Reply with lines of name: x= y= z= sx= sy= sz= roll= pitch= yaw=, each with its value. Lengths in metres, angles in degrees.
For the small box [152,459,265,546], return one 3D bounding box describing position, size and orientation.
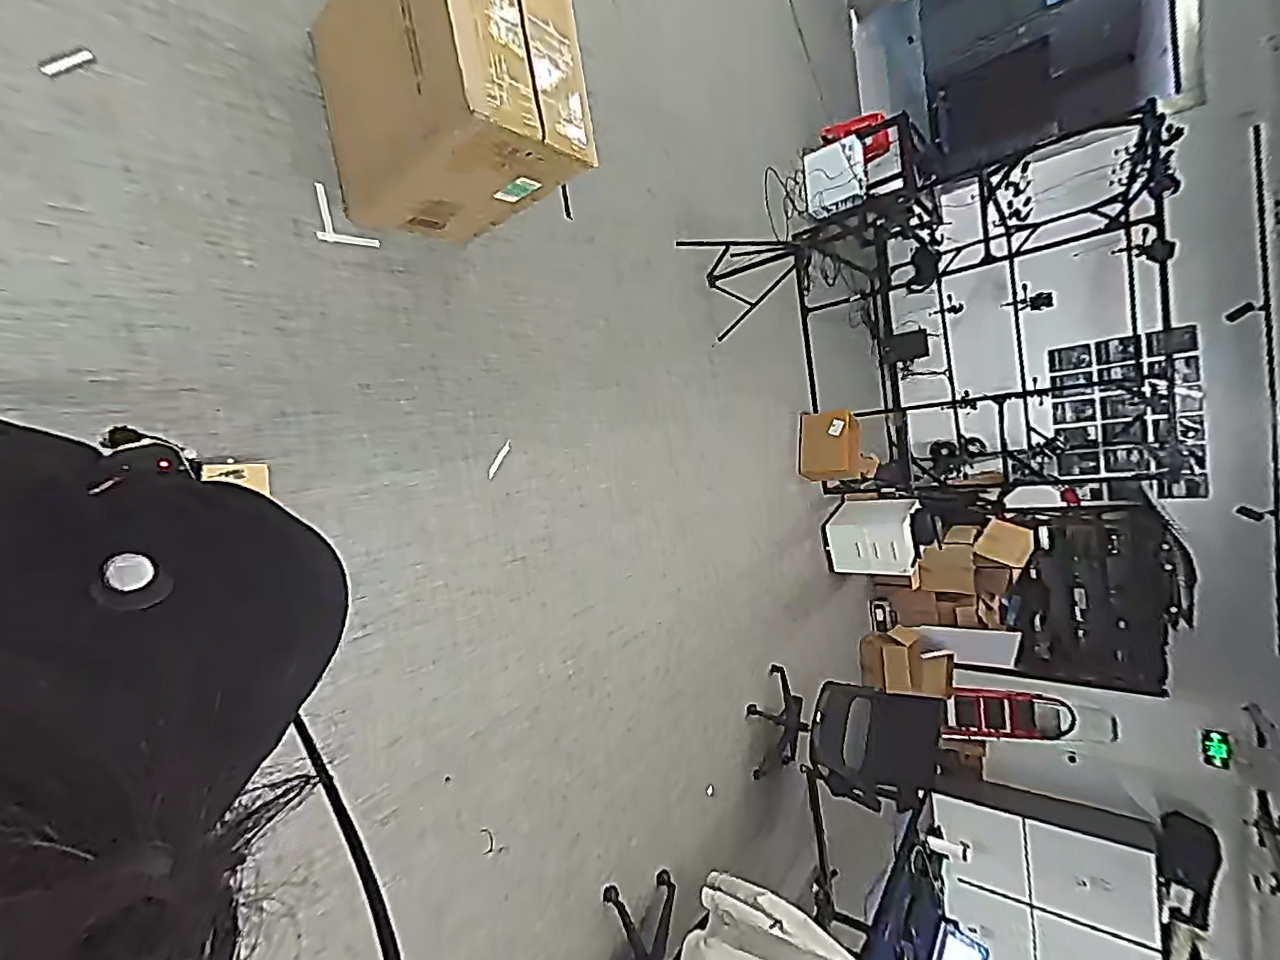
small box: x=-0.954 y=0.046 z=1.196 sx=0.168 sy=0.176 sz=0.179 roll=-4 pitch=90 yaw=-51
